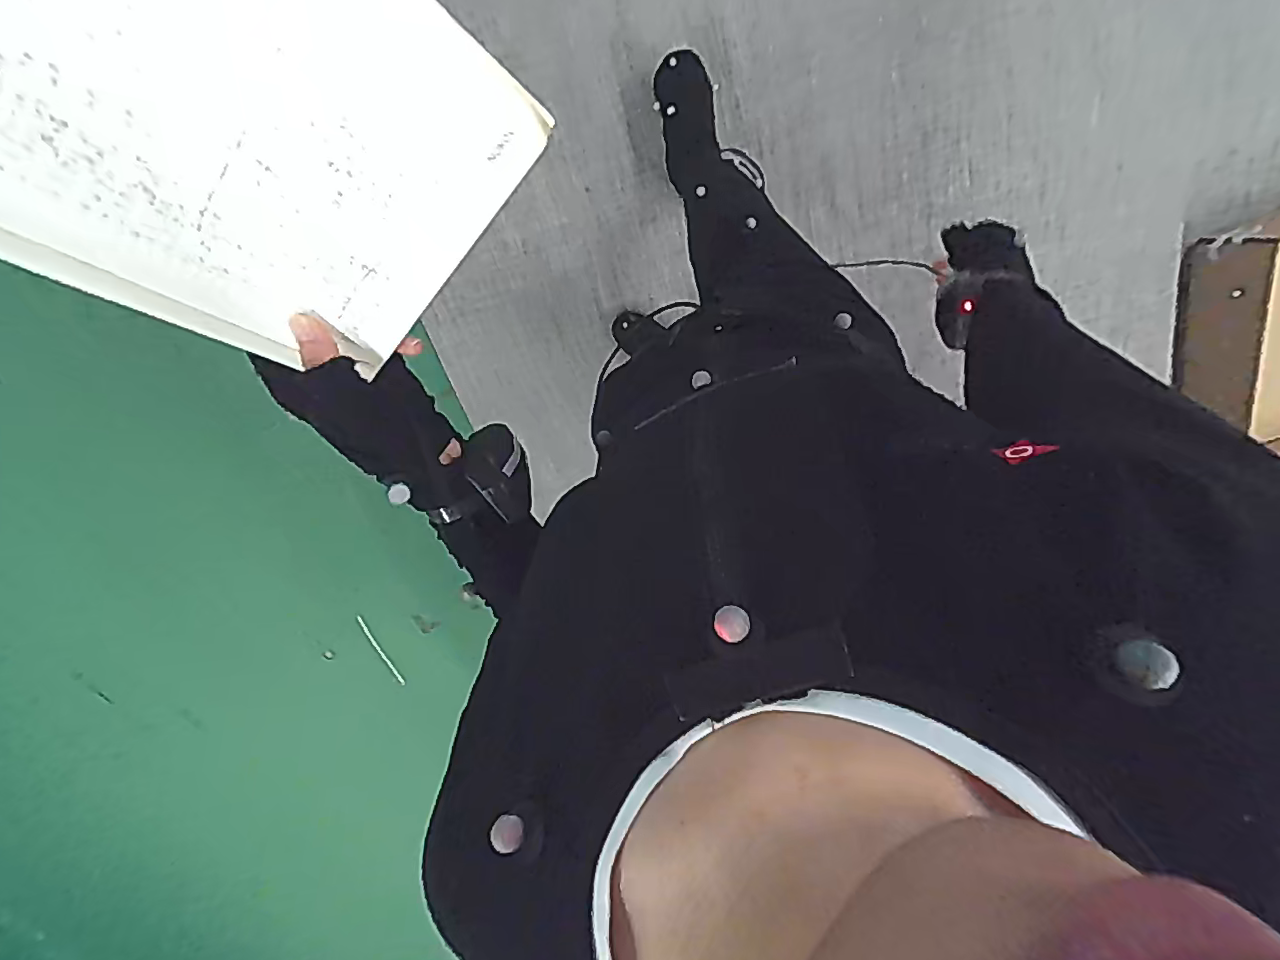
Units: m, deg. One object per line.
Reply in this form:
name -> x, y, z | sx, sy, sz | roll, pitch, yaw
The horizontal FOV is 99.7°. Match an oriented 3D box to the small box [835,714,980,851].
small box -> 0.446, 0.523, 0.914 | 0.168, 0.176, 0.179 | -18, 115, 8
